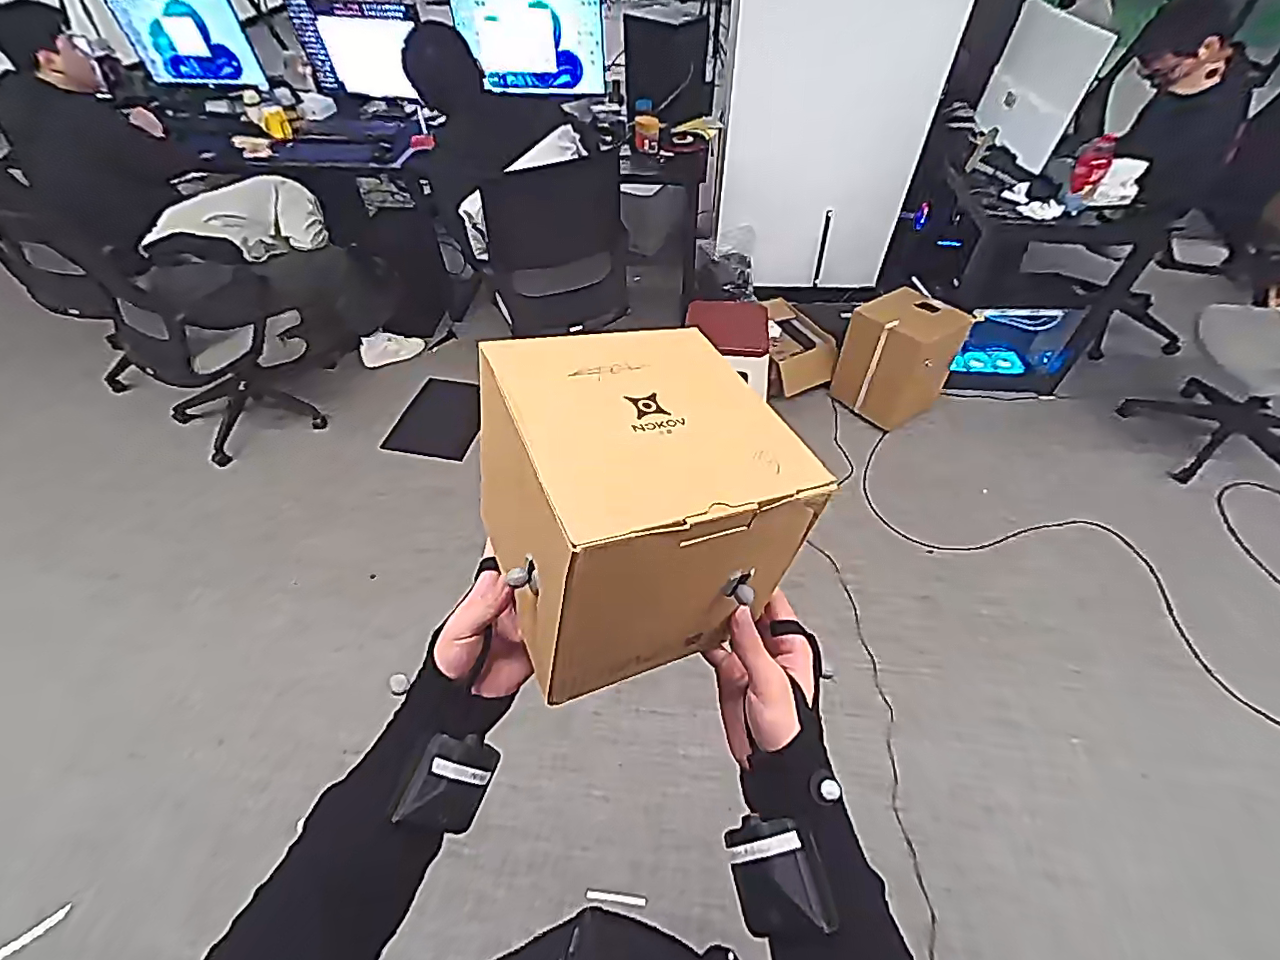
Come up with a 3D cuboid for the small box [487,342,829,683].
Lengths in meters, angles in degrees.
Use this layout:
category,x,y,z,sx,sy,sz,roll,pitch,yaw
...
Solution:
category,x,y,z,sx,sy,sz,roll,pitch,yaw
small box,-0.008,0.022,0.392,0.168,0.176,0.179,-11,47,-26
